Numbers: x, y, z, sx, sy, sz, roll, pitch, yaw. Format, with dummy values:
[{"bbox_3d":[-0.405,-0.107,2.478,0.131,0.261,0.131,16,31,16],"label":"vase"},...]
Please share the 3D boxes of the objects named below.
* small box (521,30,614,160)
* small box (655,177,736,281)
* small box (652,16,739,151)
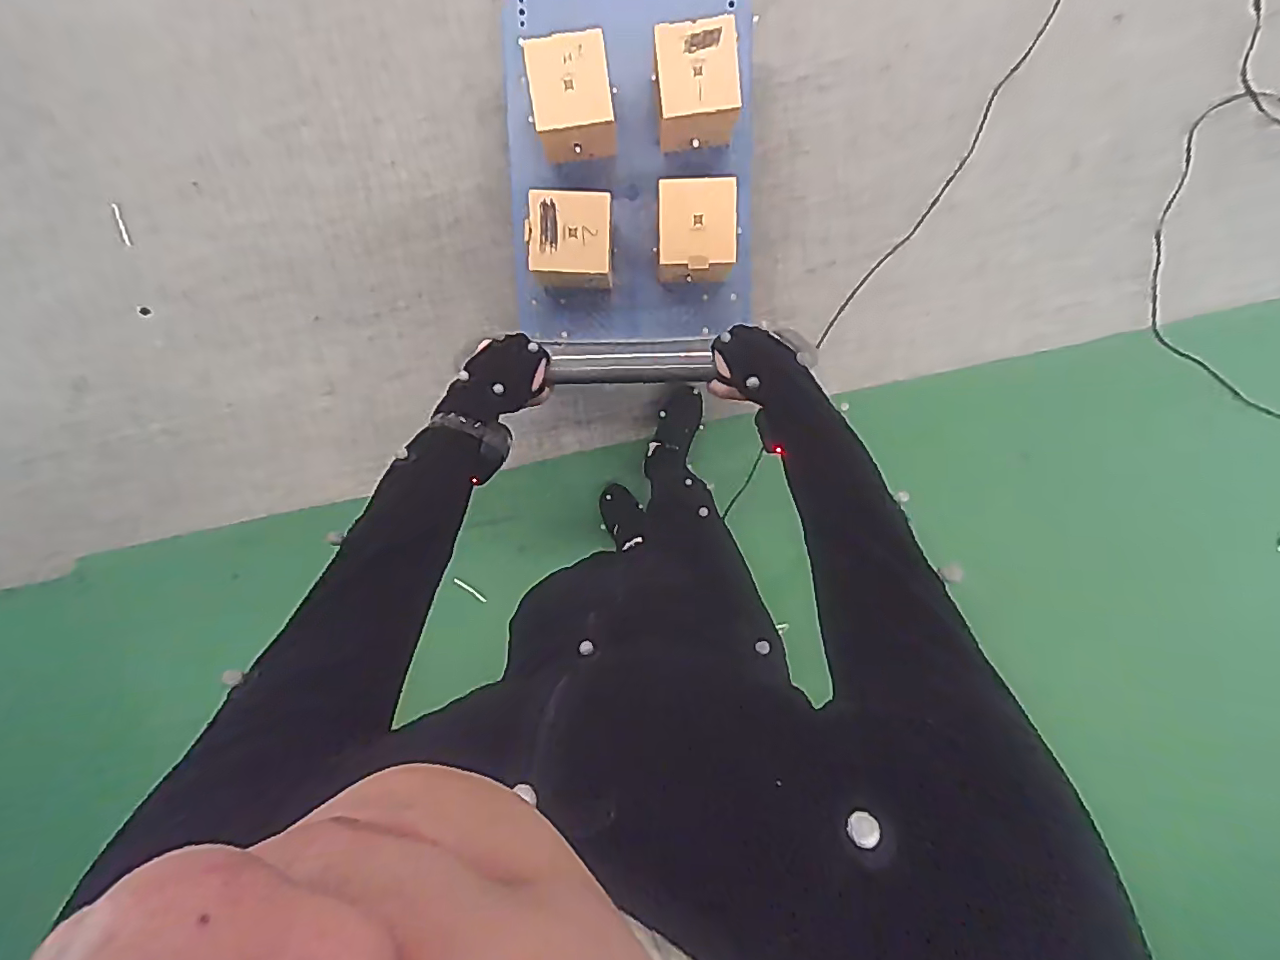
[{"bbox_3d":[-0.150,-0.827,1.184,0.168,0.176,0.179,-8,99,1],"label":"small box"},{"bbox_3d":[0.121,-0.562,1.227,0.168,0.176,0.179,-2,100,0],"label":"small box"},{"bbox_3d":[0.115,-0.854,1.179,0.168,0.176,0.179,-7,100,2],"label":"small box"}]
